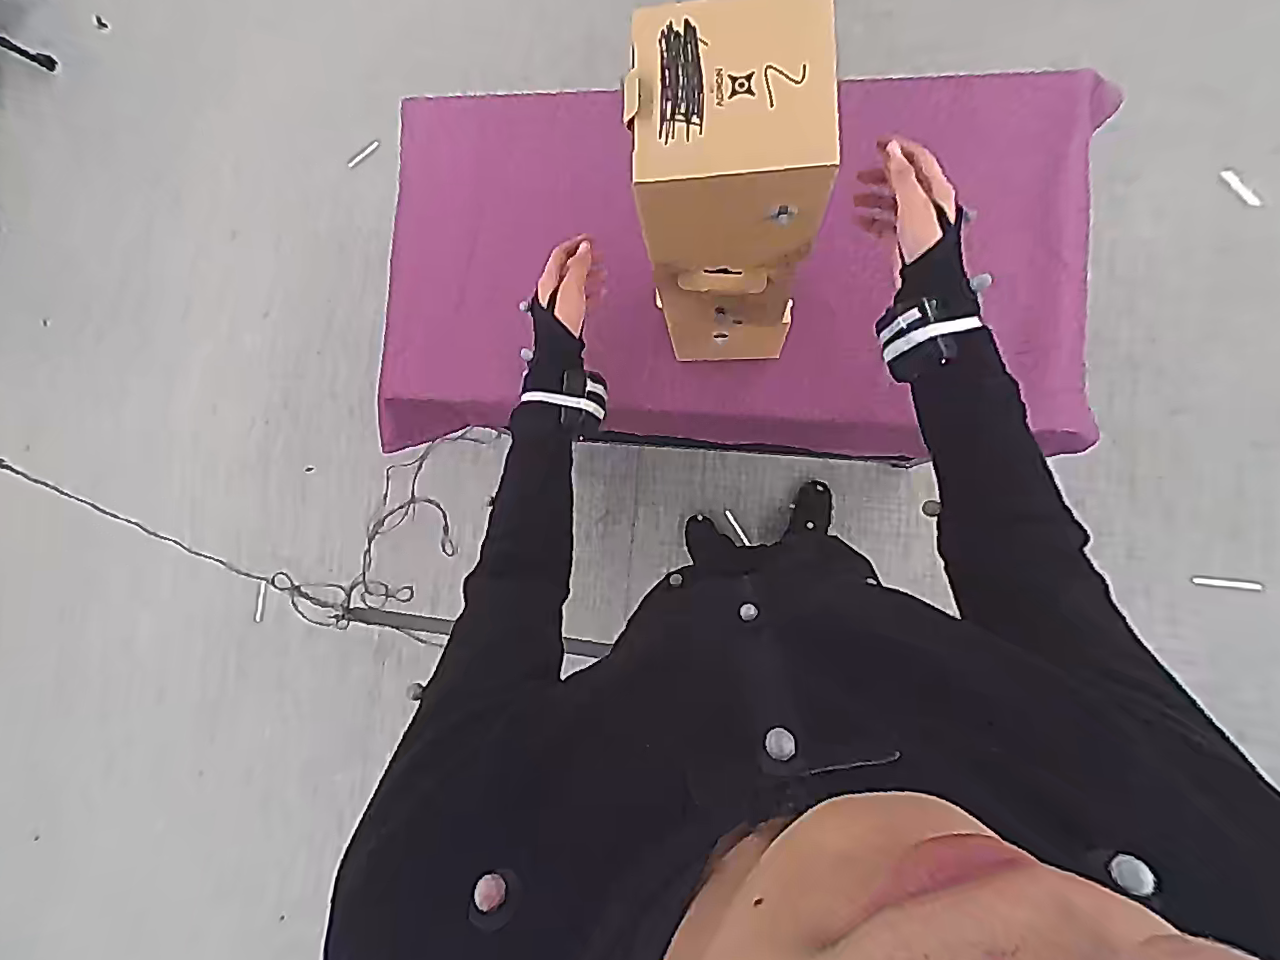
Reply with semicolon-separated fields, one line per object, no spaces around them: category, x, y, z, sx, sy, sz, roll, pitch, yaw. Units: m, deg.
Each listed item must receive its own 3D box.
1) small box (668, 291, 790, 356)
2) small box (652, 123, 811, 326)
small box;0.140;-0.301;0.857;0.179;0.176;0.168;0;86;8
small box;0.115;-0.318;0.696;0.168;0.176;0.179;6;86;10
